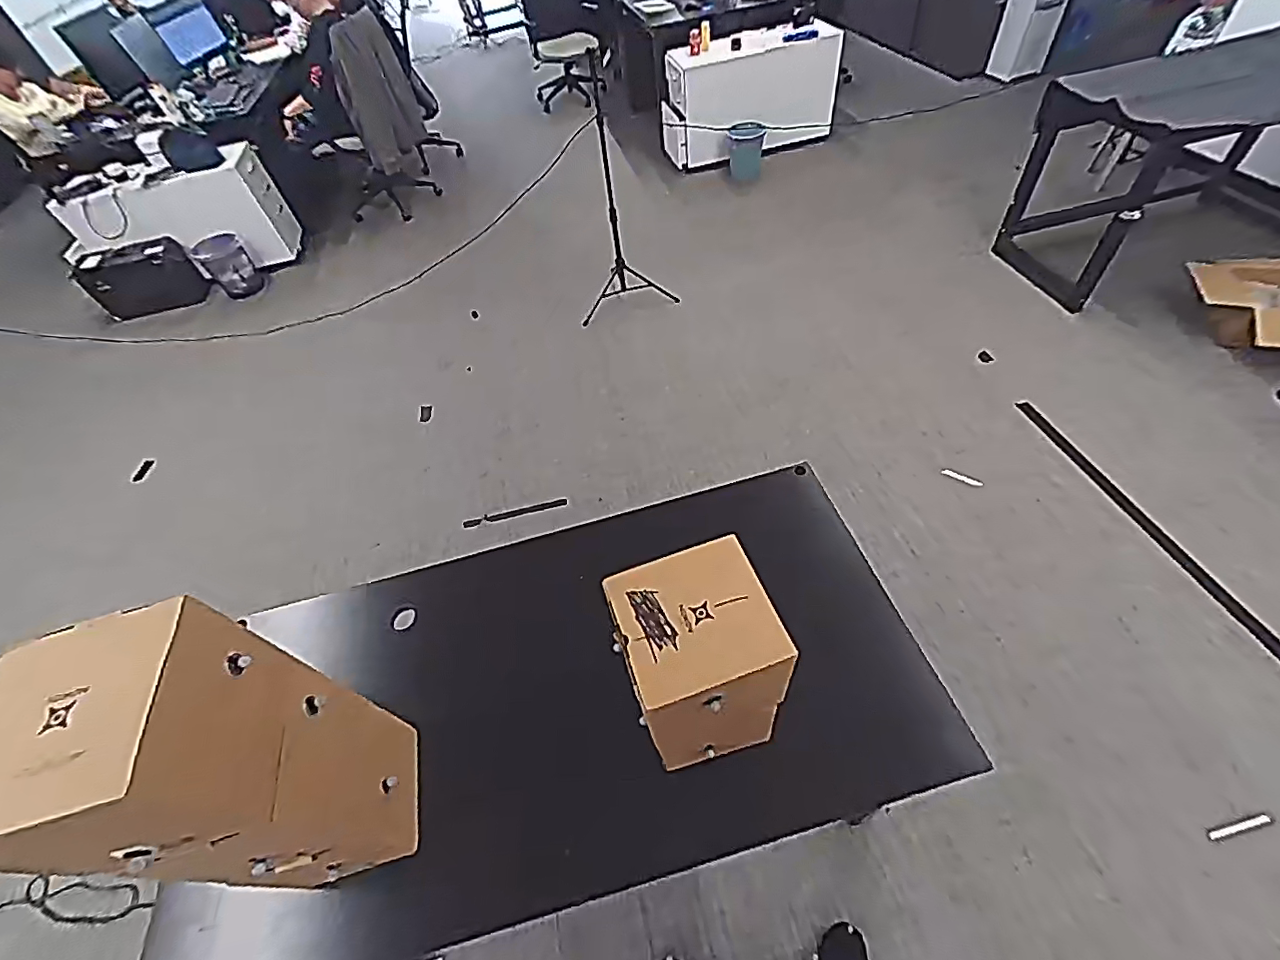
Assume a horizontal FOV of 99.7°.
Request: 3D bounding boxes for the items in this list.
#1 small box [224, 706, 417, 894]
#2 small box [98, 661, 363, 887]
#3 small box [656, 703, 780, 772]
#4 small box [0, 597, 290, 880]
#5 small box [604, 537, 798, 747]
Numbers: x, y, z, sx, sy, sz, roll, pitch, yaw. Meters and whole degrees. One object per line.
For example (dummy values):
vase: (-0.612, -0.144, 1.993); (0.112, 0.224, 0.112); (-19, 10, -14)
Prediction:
small box: (-0.427, 0.447, 0.755); (0.168, 0.176, 0.179); (-16, 52, -5)
small box: (-0.445, 0.343, 0.629); (0.168, 0.176, 0.179); (-16, 51, -4)
small box: (0.089, 0.301, 0.797); (0.168, 0.176, 0.179); (-16, 51, -4)
small box: (-0.463, 0.242, 0.502); (0.168, 0.176, 0.179); (-17, 52, -4)
small box: (0.071, 0.204, 0.666); (0.179, 0.176, 0.168); (-18, 52, -7)
